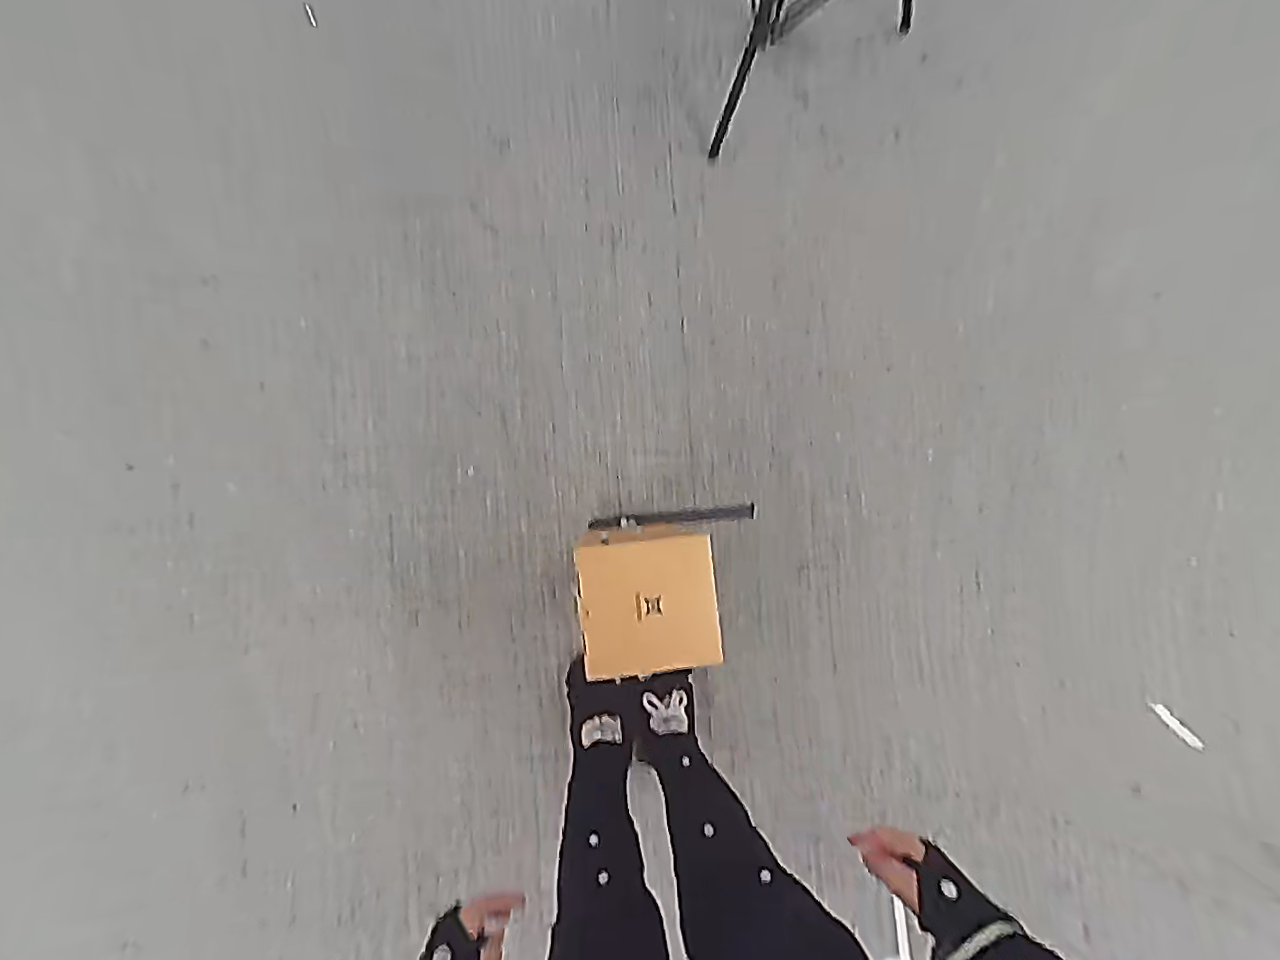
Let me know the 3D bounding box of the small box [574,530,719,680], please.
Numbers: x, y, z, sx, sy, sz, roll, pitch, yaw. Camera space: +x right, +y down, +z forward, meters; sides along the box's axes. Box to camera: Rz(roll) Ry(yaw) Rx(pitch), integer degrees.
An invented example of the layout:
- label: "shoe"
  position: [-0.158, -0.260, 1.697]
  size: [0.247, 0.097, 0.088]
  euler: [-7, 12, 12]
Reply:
- label: "small box"
  position: [0.001, 0.164, 0.764]
  size: [0.179, 0.176, 0.168]
  euler: [-6, 88, -5]
